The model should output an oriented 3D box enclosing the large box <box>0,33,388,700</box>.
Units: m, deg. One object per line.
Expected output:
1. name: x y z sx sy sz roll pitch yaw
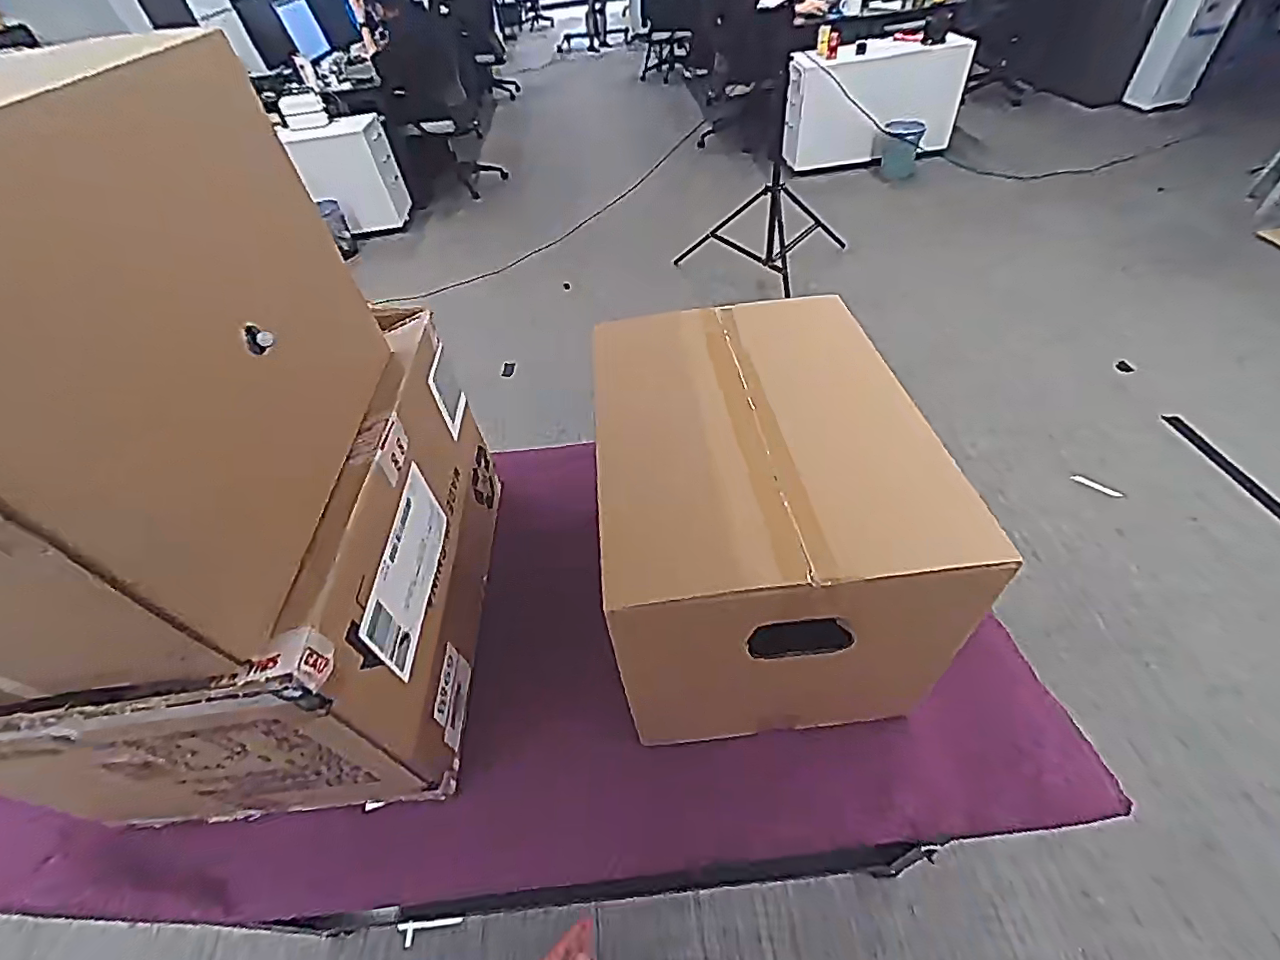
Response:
1. large box: -0.443 -0.093 0.414 0.320 0.320 0.408 -9 47 2
